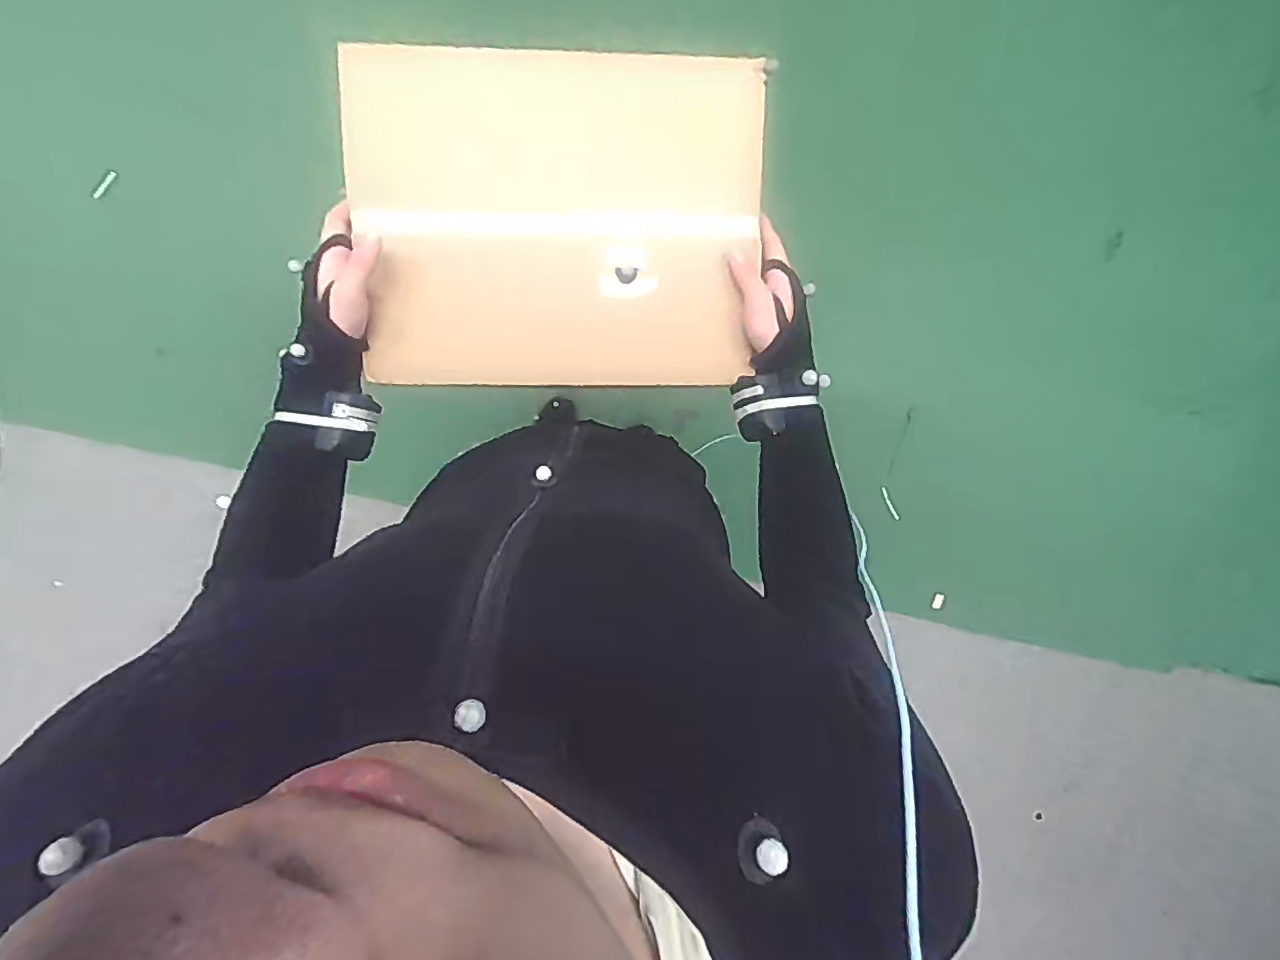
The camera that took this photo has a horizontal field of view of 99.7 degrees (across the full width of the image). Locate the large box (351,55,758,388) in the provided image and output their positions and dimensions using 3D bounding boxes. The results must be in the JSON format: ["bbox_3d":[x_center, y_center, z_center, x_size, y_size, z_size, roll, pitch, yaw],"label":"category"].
[{"bbox_3d":[-0.089,-0.281,0.697,0.408,0.320,0.320,-1,100,-4],"label":"large box"}]
